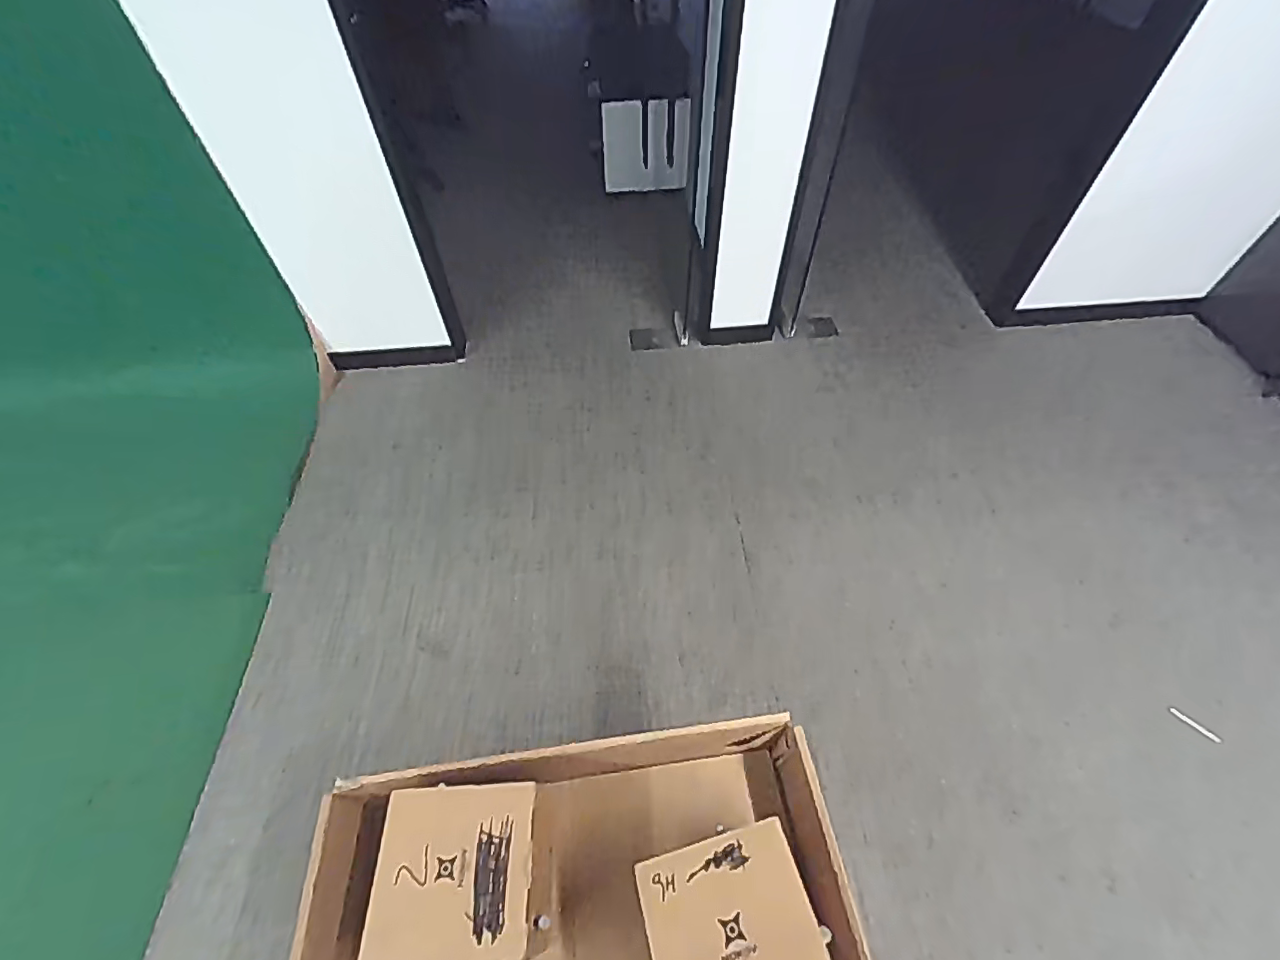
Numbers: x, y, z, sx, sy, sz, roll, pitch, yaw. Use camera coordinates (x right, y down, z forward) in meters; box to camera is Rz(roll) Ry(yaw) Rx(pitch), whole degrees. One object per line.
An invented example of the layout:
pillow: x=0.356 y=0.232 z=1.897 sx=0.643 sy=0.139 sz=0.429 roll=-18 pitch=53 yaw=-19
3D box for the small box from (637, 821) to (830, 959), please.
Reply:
small box: x=0.109 y=0.498 z=0.581 sx=0.168 sy=0.176 sz=0.179 roll=-18 pitch=49 yaw=-1
